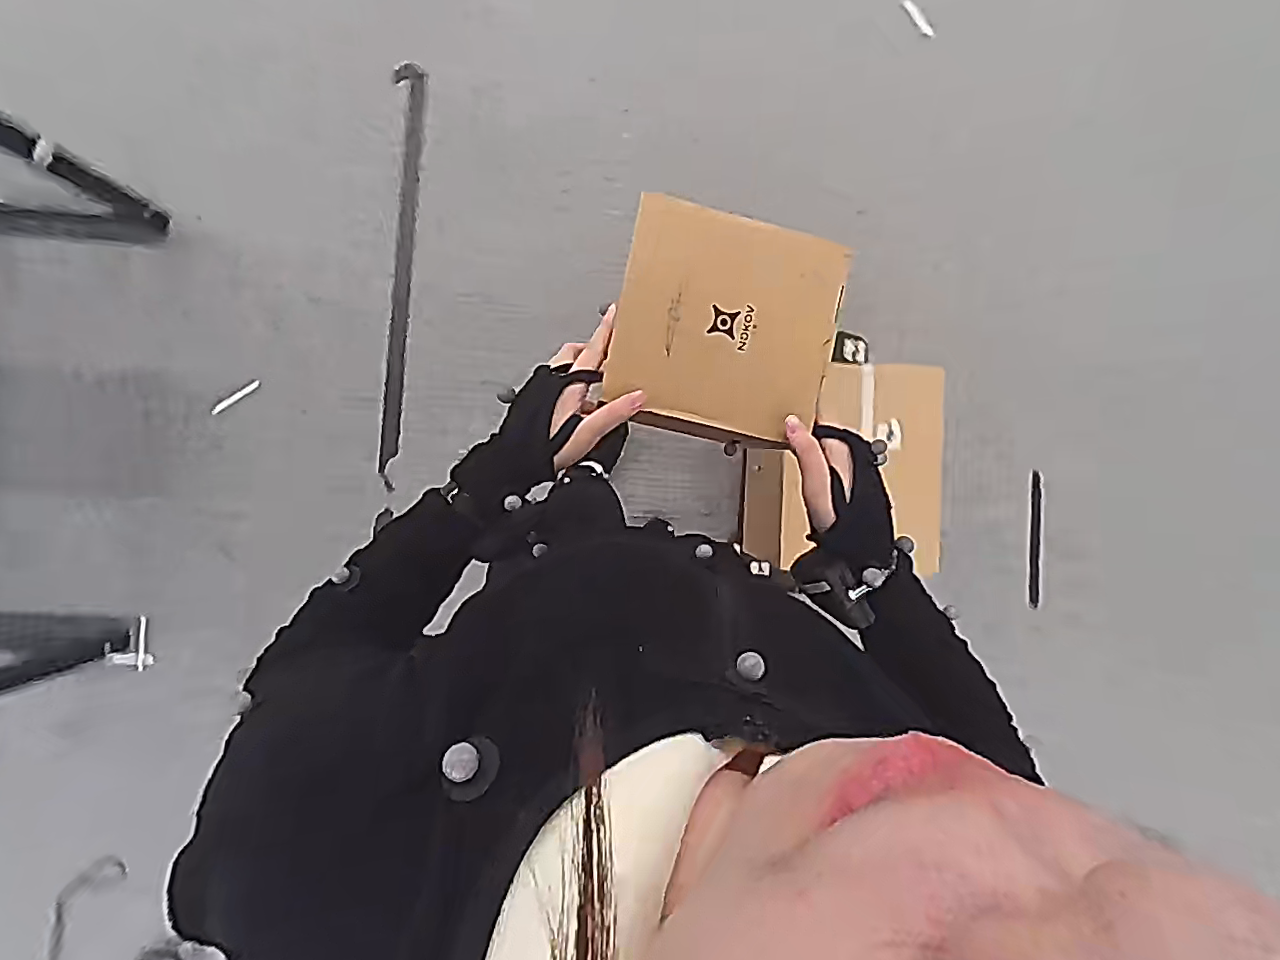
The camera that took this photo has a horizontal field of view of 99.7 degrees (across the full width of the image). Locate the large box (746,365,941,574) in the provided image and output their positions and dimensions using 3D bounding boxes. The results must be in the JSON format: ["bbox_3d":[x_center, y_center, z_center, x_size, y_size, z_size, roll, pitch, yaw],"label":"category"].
[{"bbox_3d":[0.419,-0.015,1.182,0.320,0.320,0.408,3,88,-3],"label":"large box"}]

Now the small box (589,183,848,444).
[{"bbox_3d":[0.055,-0.131,0.494,0.179,0.176,0.168,11,92,-6],"label":"small box"}]
